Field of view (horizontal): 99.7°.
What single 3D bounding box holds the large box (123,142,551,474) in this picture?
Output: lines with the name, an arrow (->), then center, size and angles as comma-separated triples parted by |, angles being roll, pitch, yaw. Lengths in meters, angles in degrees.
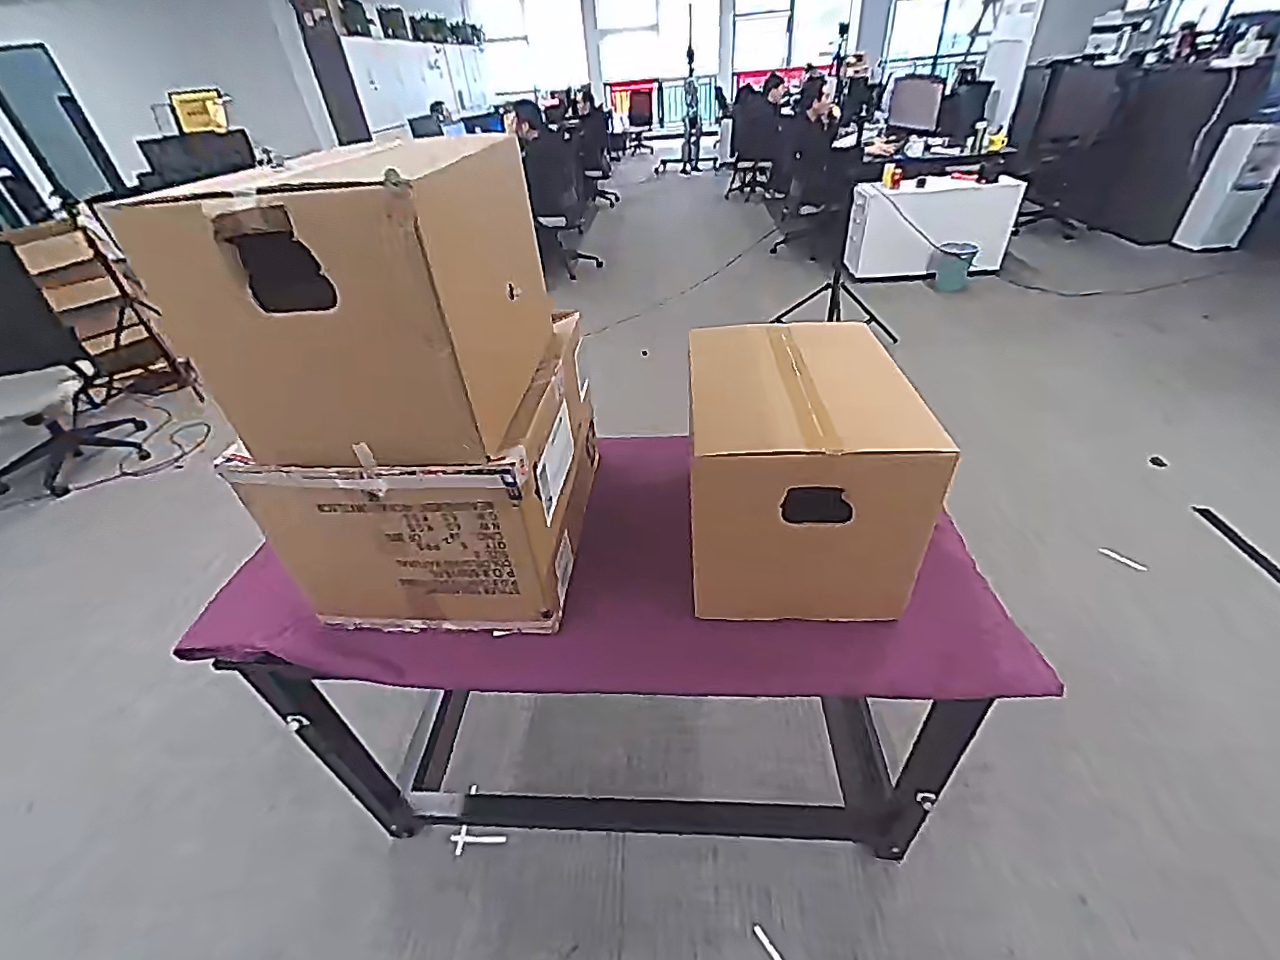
large box -> -0.324, -0.253, 0.745 | 0.320, 0.320, 0.408 | -3, 38, 6
